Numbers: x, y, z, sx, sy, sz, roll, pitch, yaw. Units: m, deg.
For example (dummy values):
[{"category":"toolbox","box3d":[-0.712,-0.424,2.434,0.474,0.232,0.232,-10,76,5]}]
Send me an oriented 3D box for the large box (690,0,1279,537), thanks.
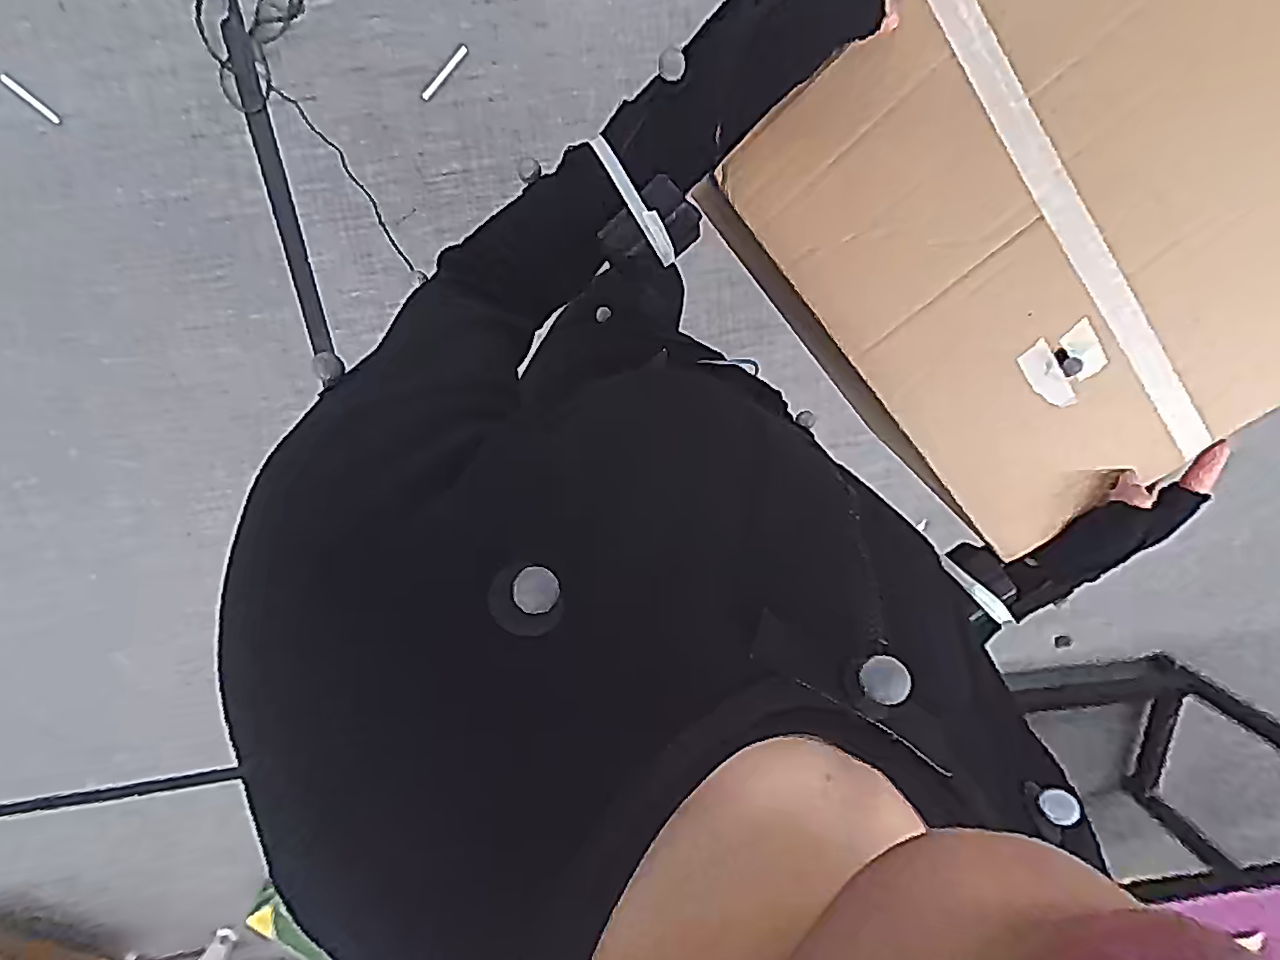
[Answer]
[{"category":"large box","box3d":[0.296,-0.234,0.511,0.320,0.320,0.408,-39,109,19]}]
